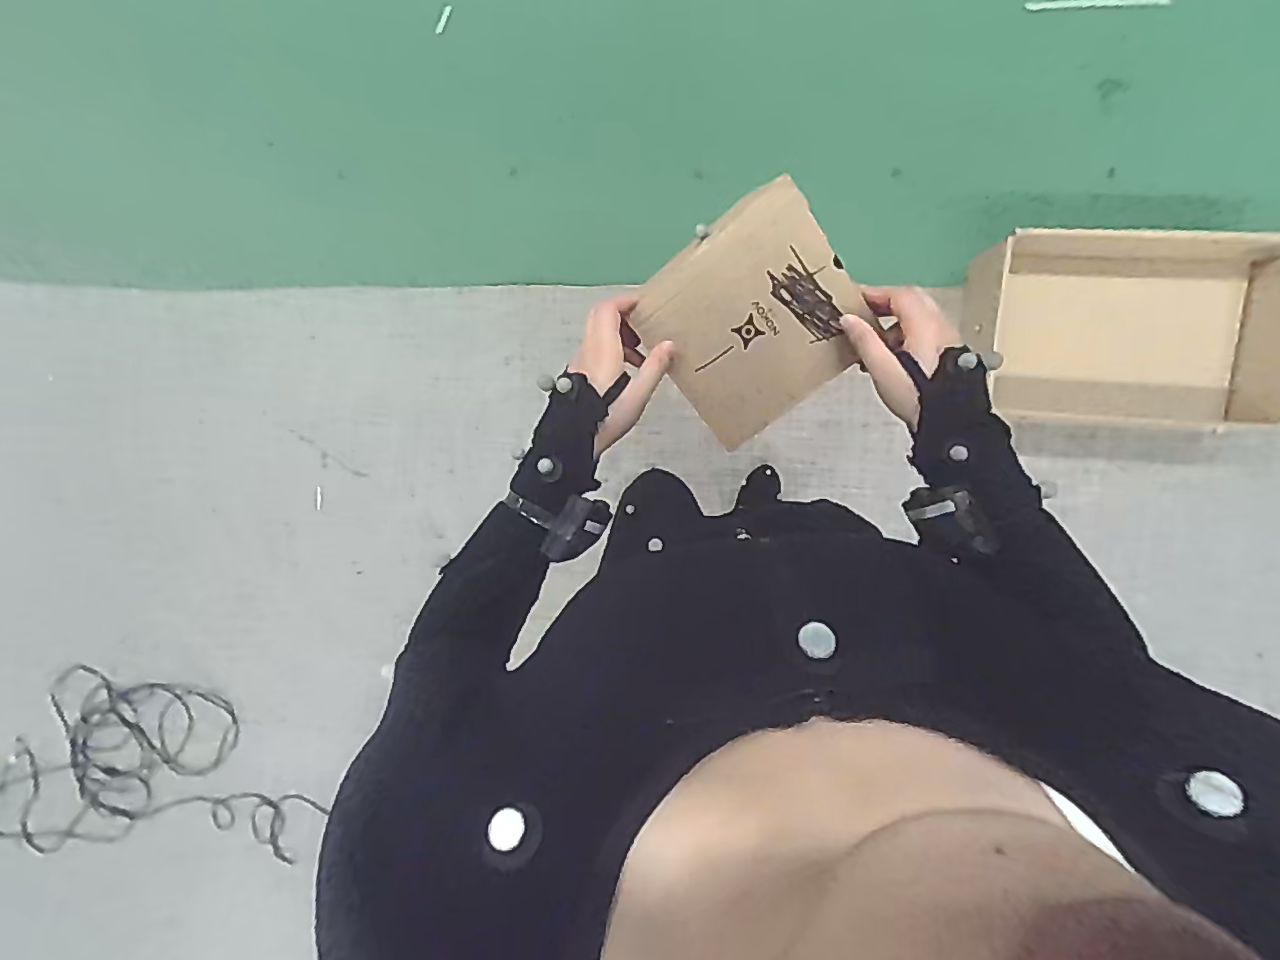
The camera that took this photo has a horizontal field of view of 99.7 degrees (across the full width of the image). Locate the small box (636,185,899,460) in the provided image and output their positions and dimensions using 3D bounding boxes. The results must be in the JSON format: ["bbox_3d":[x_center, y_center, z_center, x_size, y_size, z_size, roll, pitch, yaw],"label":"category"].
[{"bbox_3d":[0.108,-0.156,0.535,0.179,0.176,0.168,-36,109,14],"label":"small box"}]
